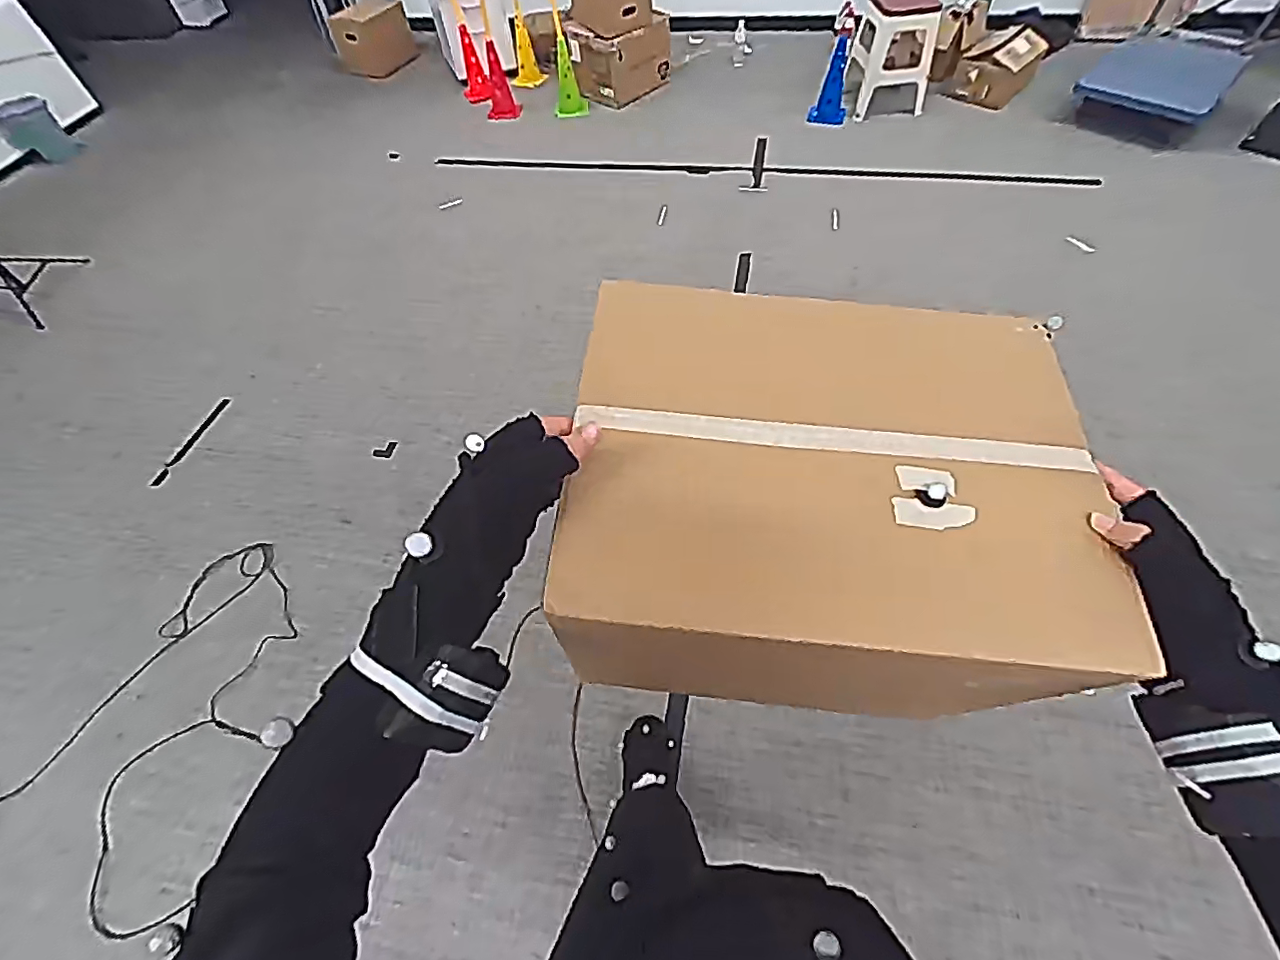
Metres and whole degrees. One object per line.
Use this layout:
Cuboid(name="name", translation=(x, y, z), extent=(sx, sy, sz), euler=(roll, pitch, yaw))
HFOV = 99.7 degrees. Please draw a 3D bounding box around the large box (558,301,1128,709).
Cuboid(name="large box", translation=(0.143, 0.047, 0.572), extent=(0.408, 0.320, 0.320), euler=(5, 62, 1))
